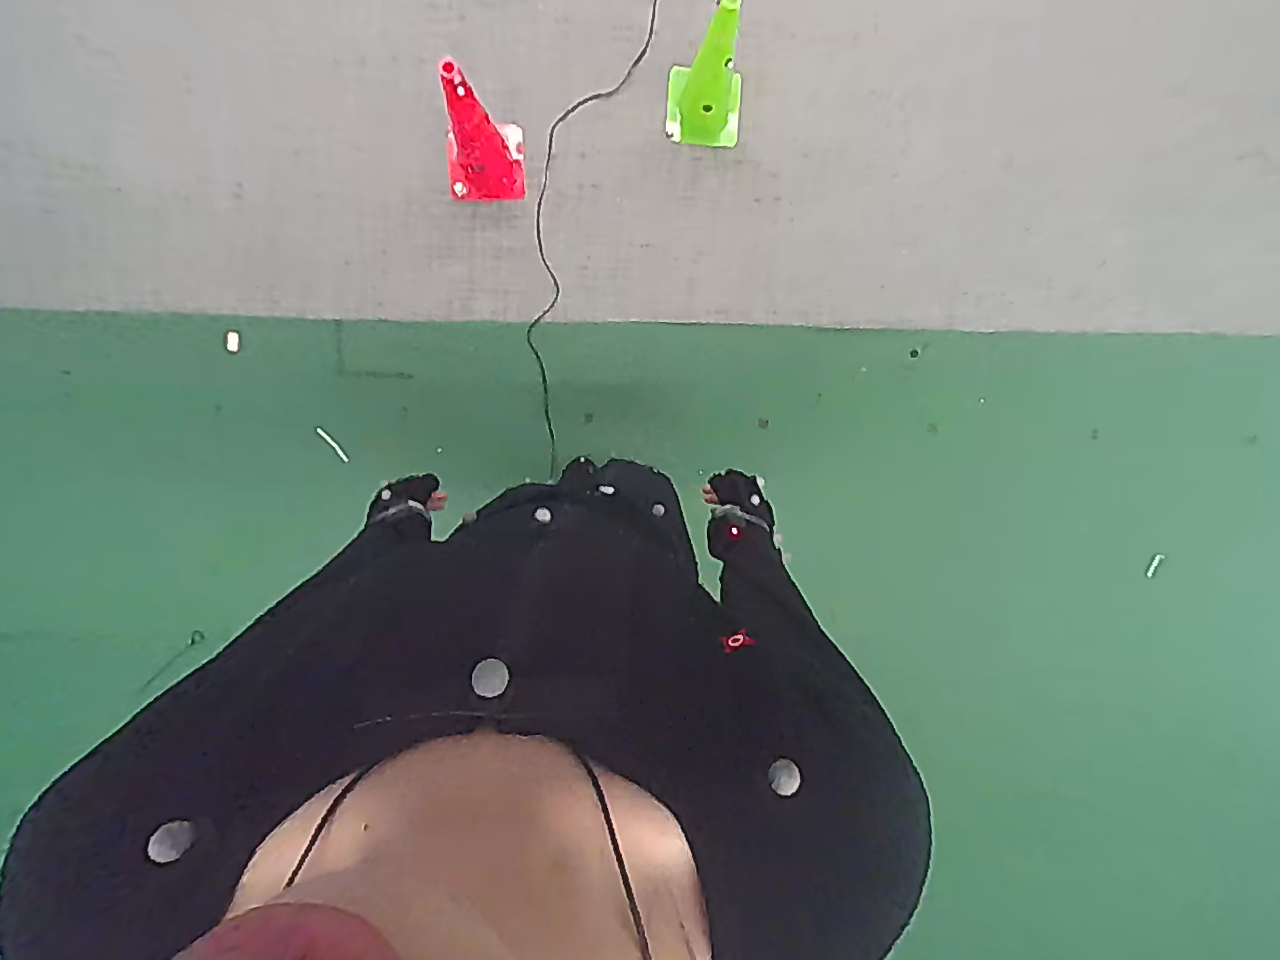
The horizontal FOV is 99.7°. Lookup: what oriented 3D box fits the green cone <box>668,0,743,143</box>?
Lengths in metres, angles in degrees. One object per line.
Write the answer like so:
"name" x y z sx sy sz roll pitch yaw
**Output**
"green cone" 0.189 -1.023 1.305 0.200 0.368 0.202 3 91 -3
